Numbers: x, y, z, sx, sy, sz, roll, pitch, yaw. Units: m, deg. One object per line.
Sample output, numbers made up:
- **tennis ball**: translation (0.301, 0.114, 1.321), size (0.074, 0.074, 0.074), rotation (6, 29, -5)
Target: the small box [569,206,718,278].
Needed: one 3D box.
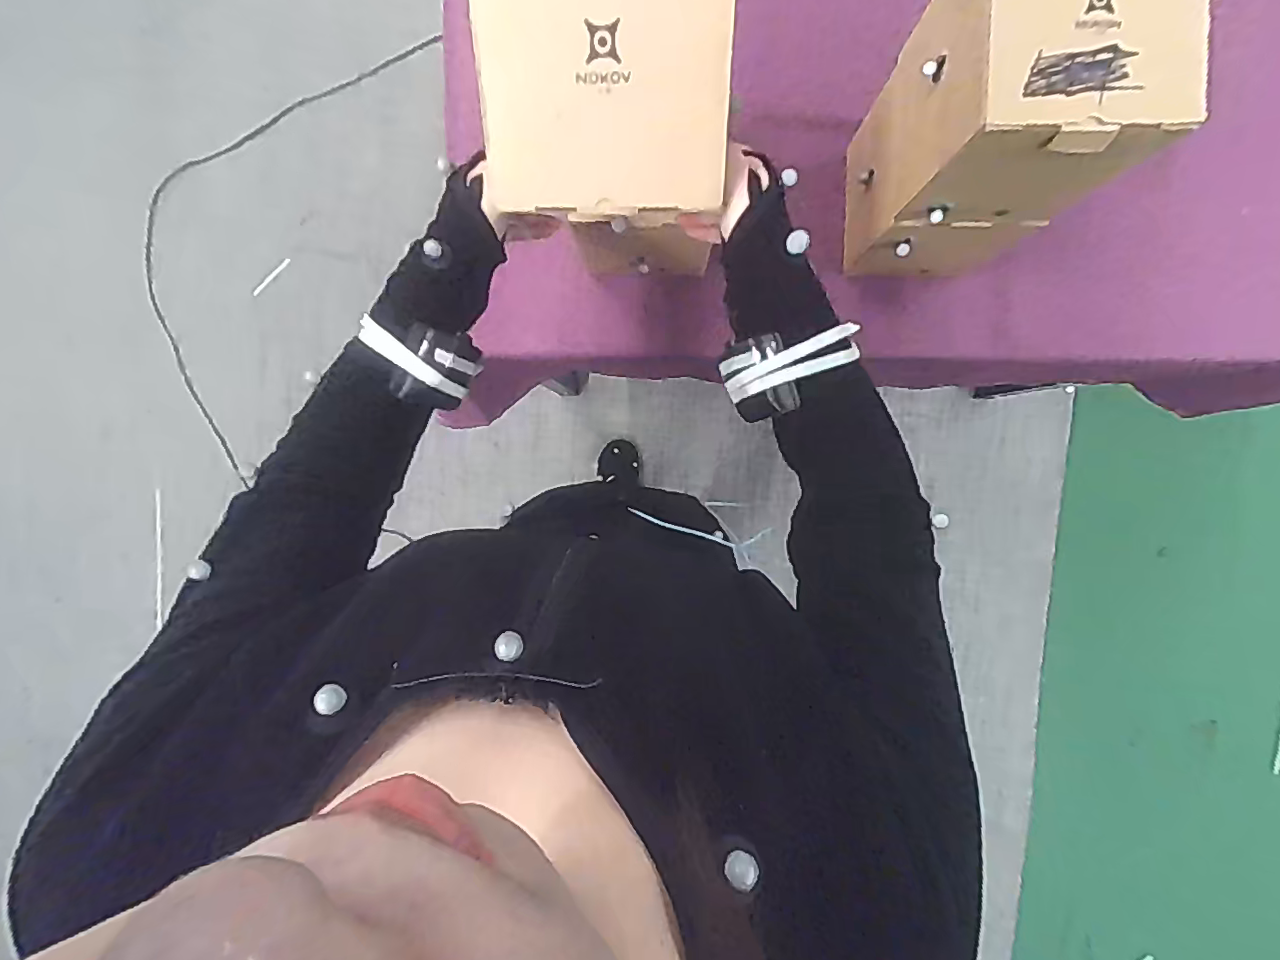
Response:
- **small box**: translation (0.009, -0.368, 0.668), size (0.168, 0.176, 0.179), rotation (2, 93, 2)

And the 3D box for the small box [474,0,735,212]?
- **small box**: translation (-0.016, -0.307, 0.416), size (0.168, 0.176, 0.179), rotation (2, 117, 4)

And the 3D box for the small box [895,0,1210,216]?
- **small box**: translation (0.351, -0.360, 0.492), size (0.168, 0.176, 0.179), rotation (1, 91, 2)
